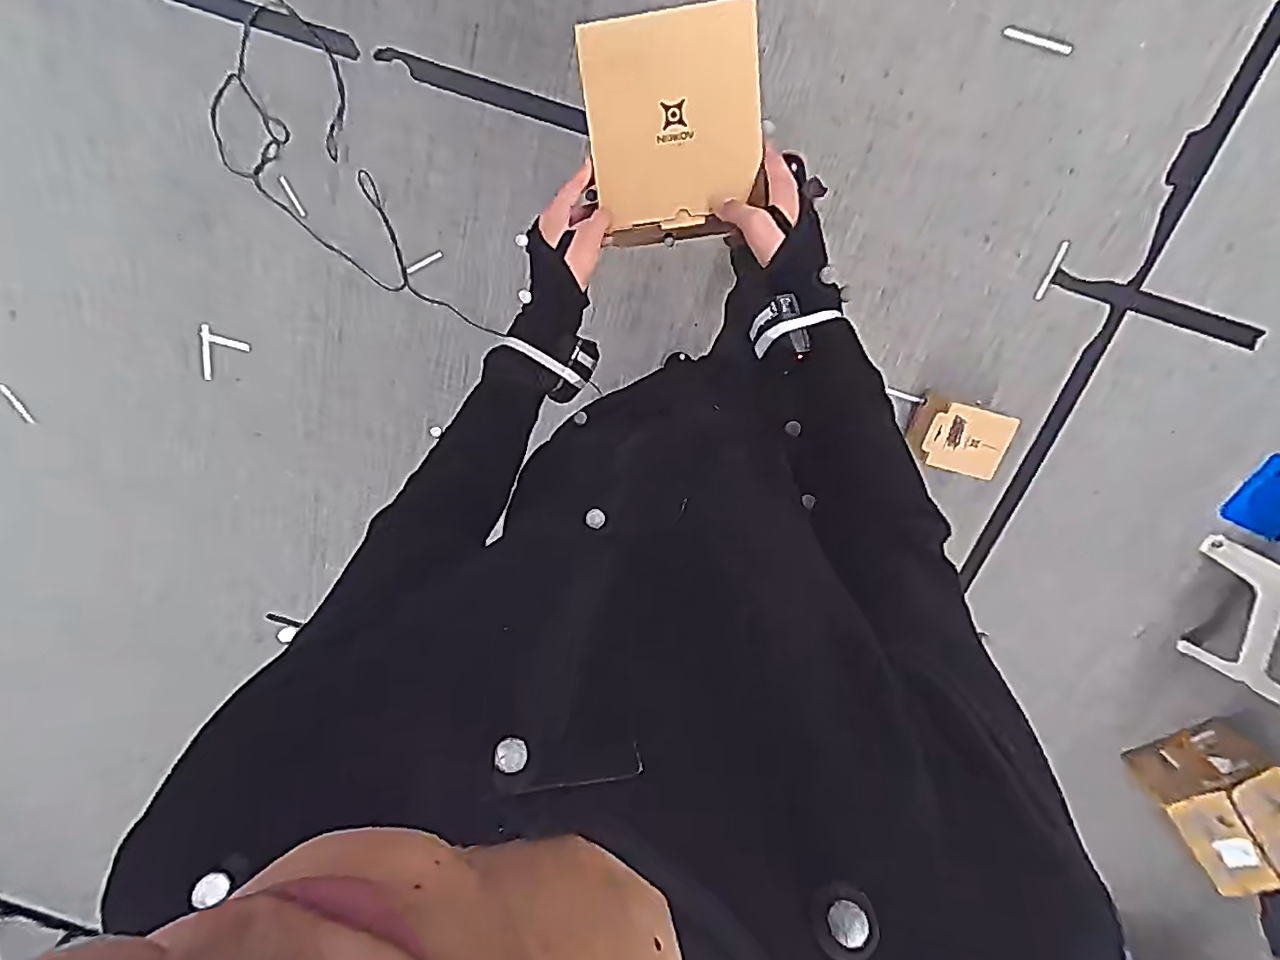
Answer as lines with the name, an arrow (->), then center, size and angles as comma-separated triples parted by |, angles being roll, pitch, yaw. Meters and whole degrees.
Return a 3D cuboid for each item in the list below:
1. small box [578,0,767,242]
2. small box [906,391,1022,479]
small box -> 0.035, -0.369, 0.584 | 0.168, 0.176, 0.179 | -7, 109, 4
small box -> 0.829, -0.125, 1.407 | 0.179, 0.176, 0.168 | 15, 111, 1
